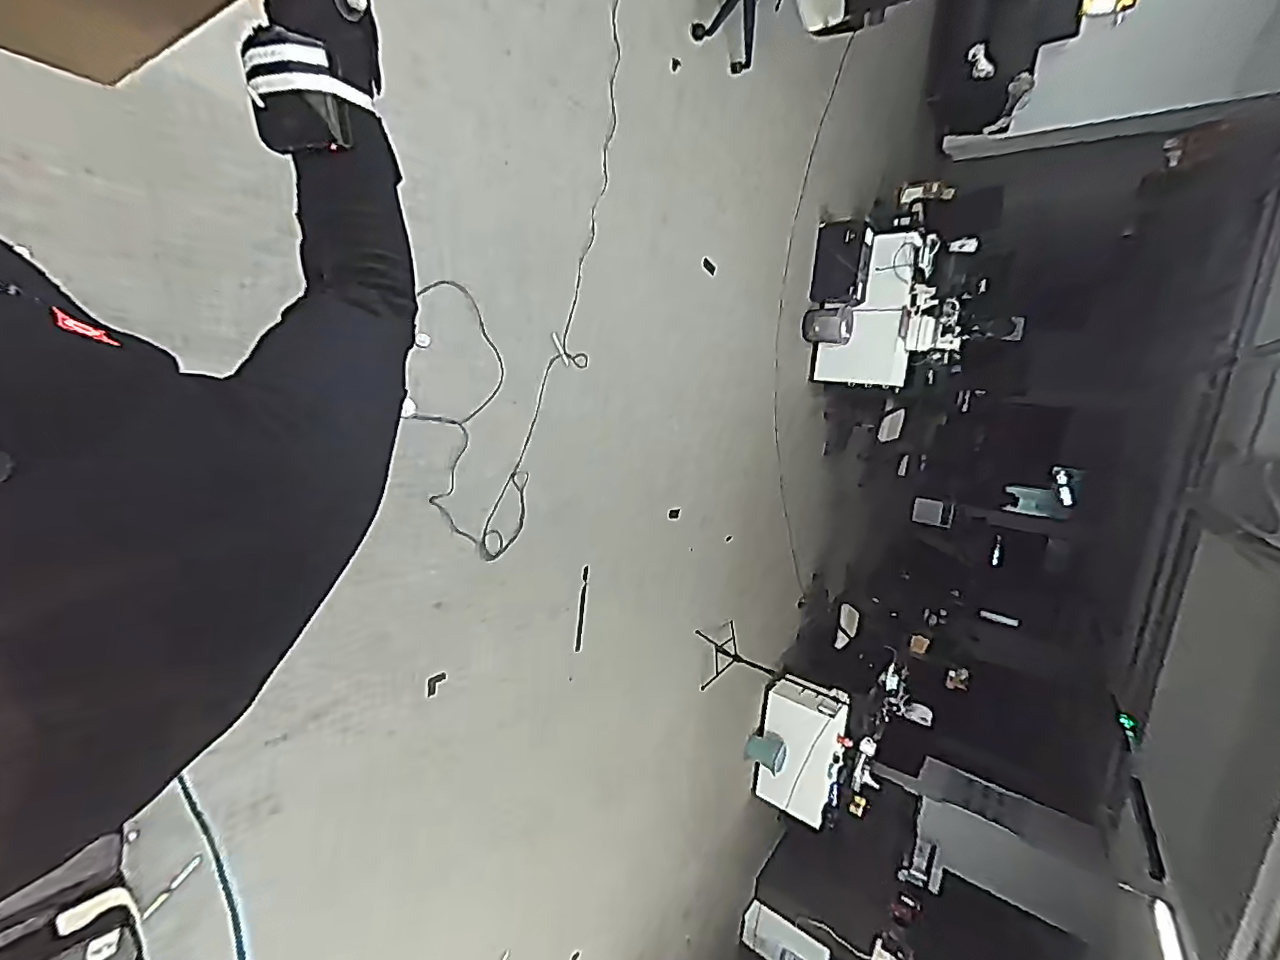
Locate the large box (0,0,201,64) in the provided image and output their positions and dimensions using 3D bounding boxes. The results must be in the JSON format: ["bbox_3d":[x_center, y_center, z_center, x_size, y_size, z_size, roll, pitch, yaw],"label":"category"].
[{"bbox_3d":[-0.473,-0.476,0.235,0.408,0.320,0.320,-12,113,-55],"label":"large box"}]

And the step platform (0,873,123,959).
[{"bbox_3d":[-1.344,1.042,0.914,0.684,0.204,0.286,-11,109,-51],"label":"step platform"}]
